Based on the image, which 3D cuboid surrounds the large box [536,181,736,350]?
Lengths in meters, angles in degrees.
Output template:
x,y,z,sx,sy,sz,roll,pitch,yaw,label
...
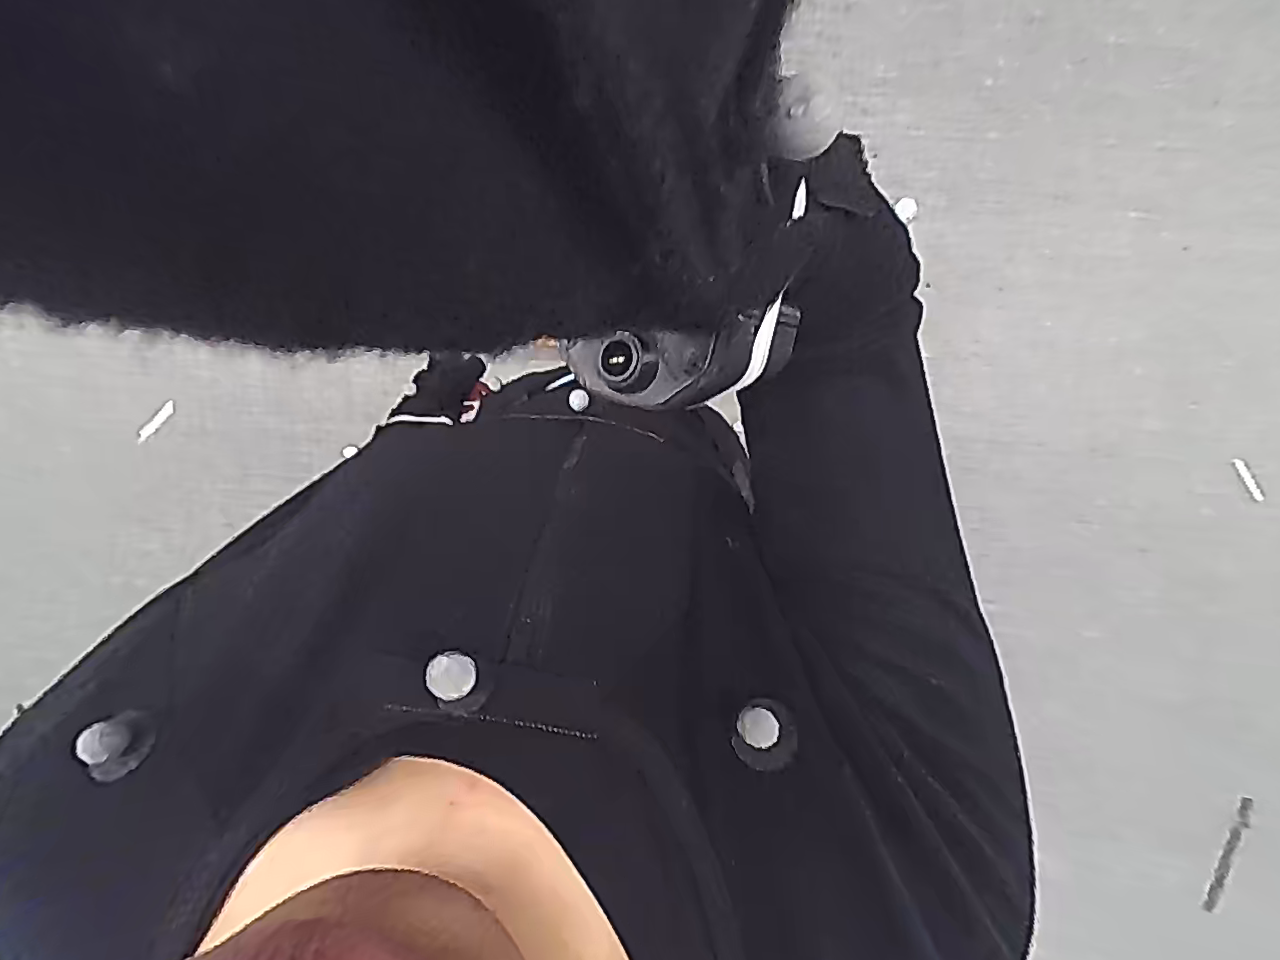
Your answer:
x,y,z,sx,sy,sz,roll,pitch,yaw,label
-0.009,-0.465,1.240,0.408,0.320,0.320,2,102,2,large box
